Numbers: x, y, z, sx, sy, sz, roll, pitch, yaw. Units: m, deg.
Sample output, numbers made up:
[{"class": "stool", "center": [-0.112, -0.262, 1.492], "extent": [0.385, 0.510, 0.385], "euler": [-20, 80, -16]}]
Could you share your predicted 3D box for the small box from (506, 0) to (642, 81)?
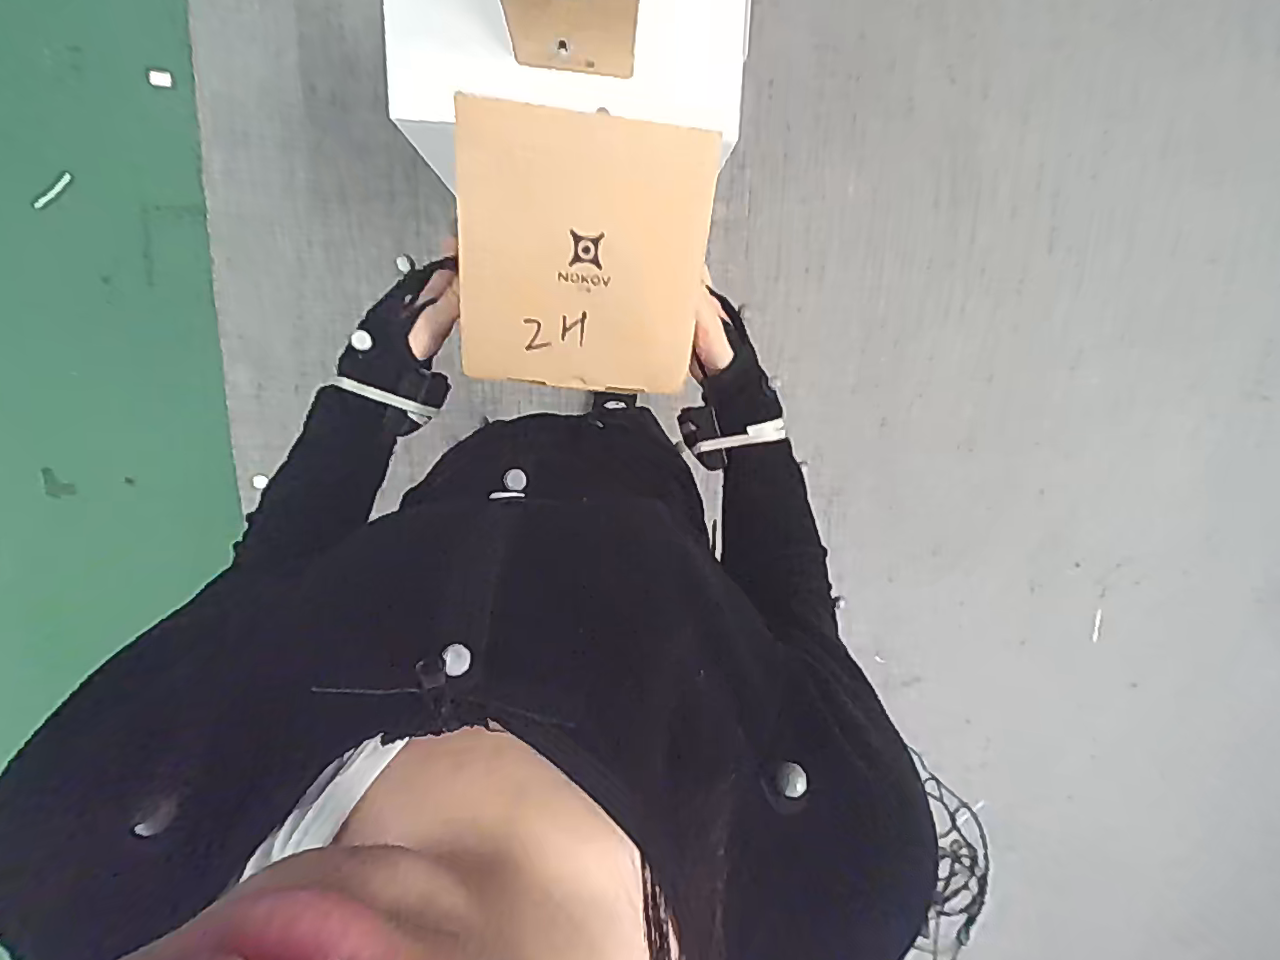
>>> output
[{"class": "small box", "center": [-0.079, -0.647, 0.673], "extent": [0.168, 0.176, 0.179], "euler": [4, 99, -5]}]

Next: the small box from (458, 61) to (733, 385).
[{"class": "small box", "center": [-0.040, -0.185, 0.420], "extent": [0.168, 0.176, 0.179], "euler": [4, 114, -6]}]
